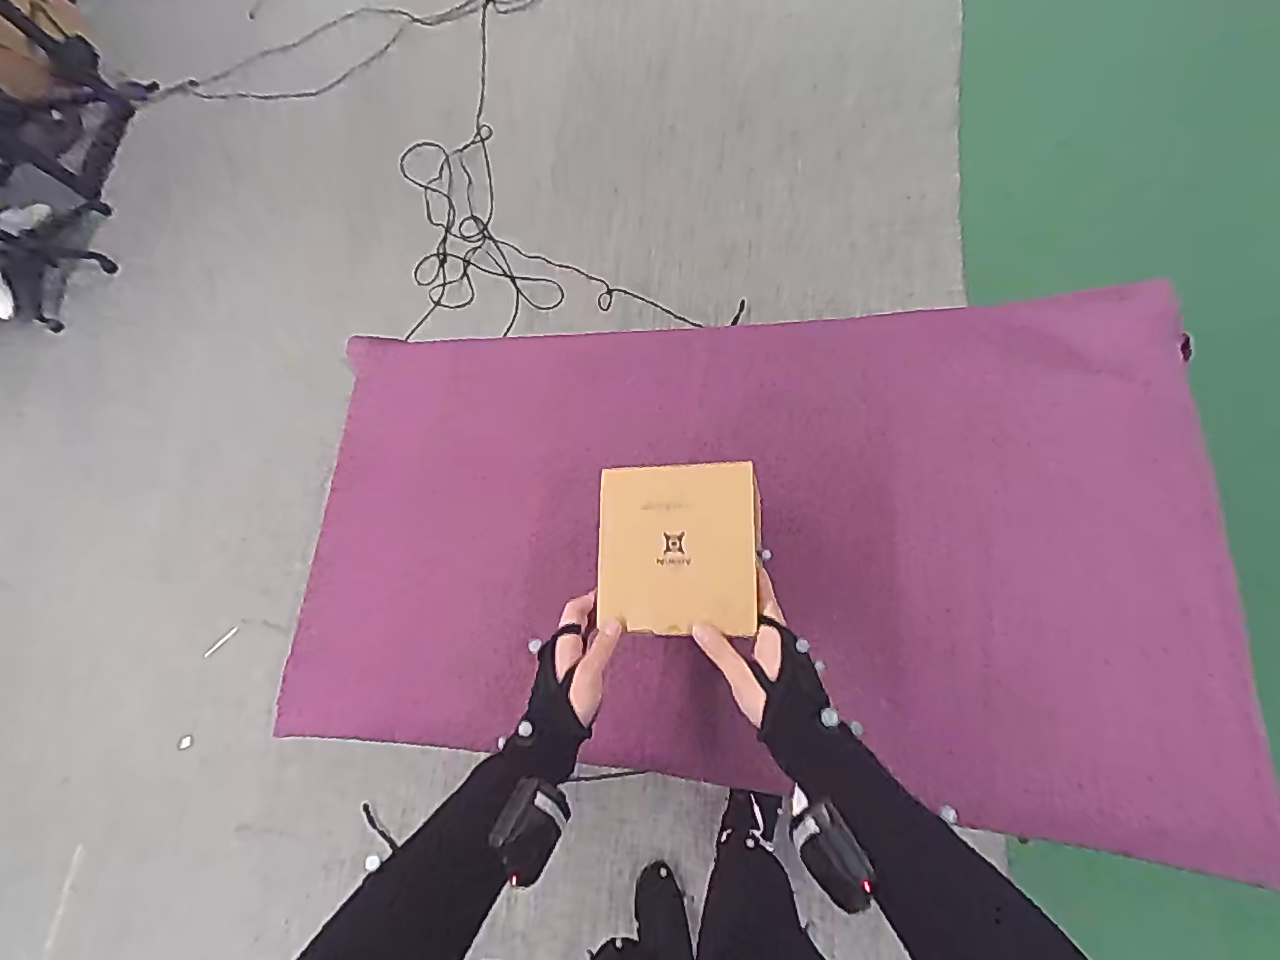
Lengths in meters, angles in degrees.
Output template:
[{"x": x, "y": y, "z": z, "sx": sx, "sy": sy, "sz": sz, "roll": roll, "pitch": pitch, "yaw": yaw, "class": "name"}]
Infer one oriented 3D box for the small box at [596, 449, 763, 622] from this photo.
[{"x": 0.054, "y": 0.072, "z": 0.635, "sx": 0.168, "sy": 0.176, "sz": 0.179, "roll": -4, "pitch": 77, "yaw": 15, "class": "small box"}]
